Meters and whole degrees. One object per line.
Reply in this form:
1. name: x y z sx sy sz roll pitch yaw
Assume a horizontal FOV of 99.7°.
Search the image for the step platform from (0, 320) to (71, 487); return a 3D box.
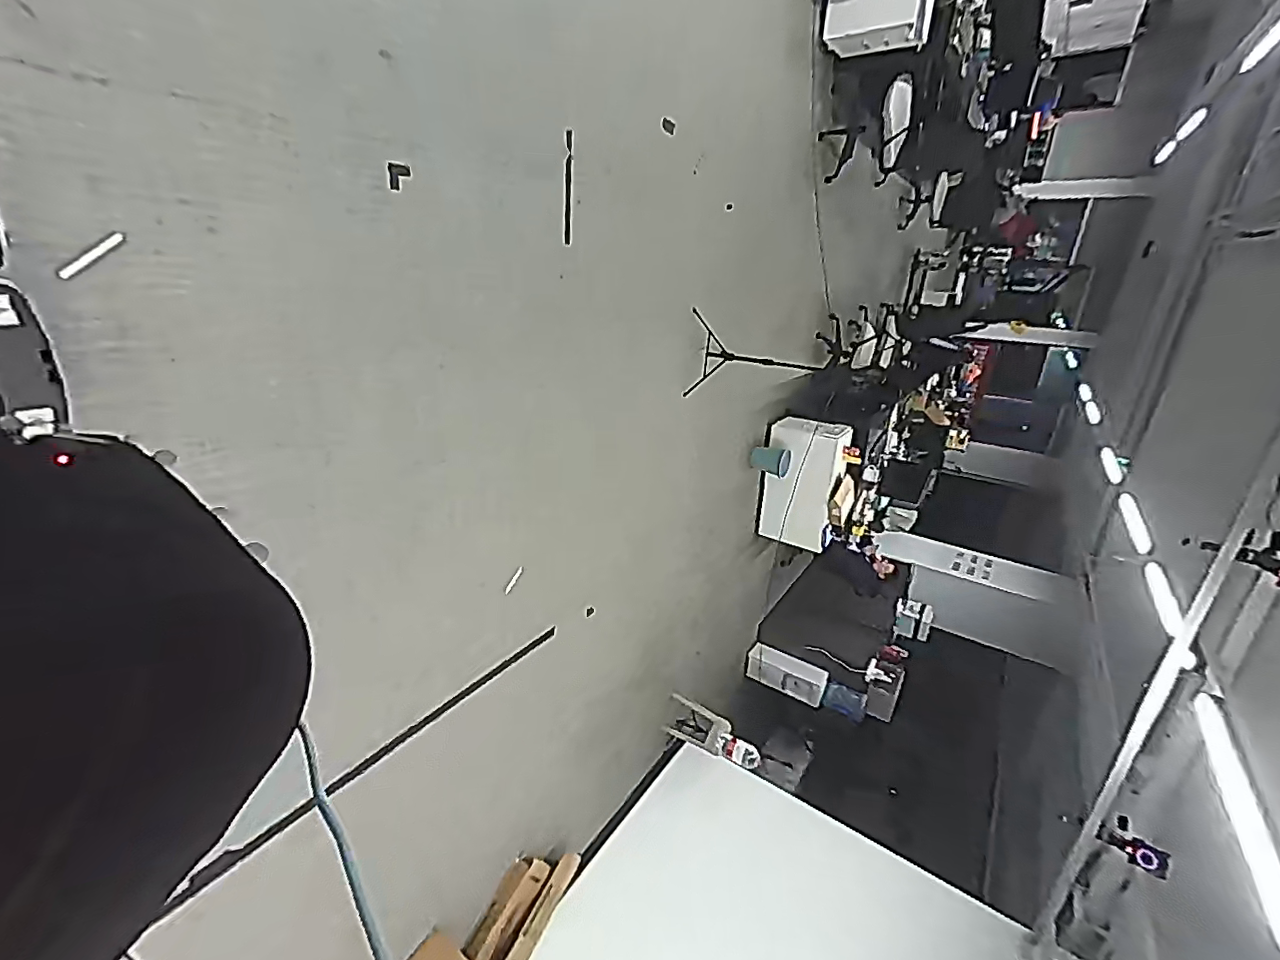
1. step platform: -1.311 -0.093 0.775 0.684 0.204 0.286 -18 116 -52
